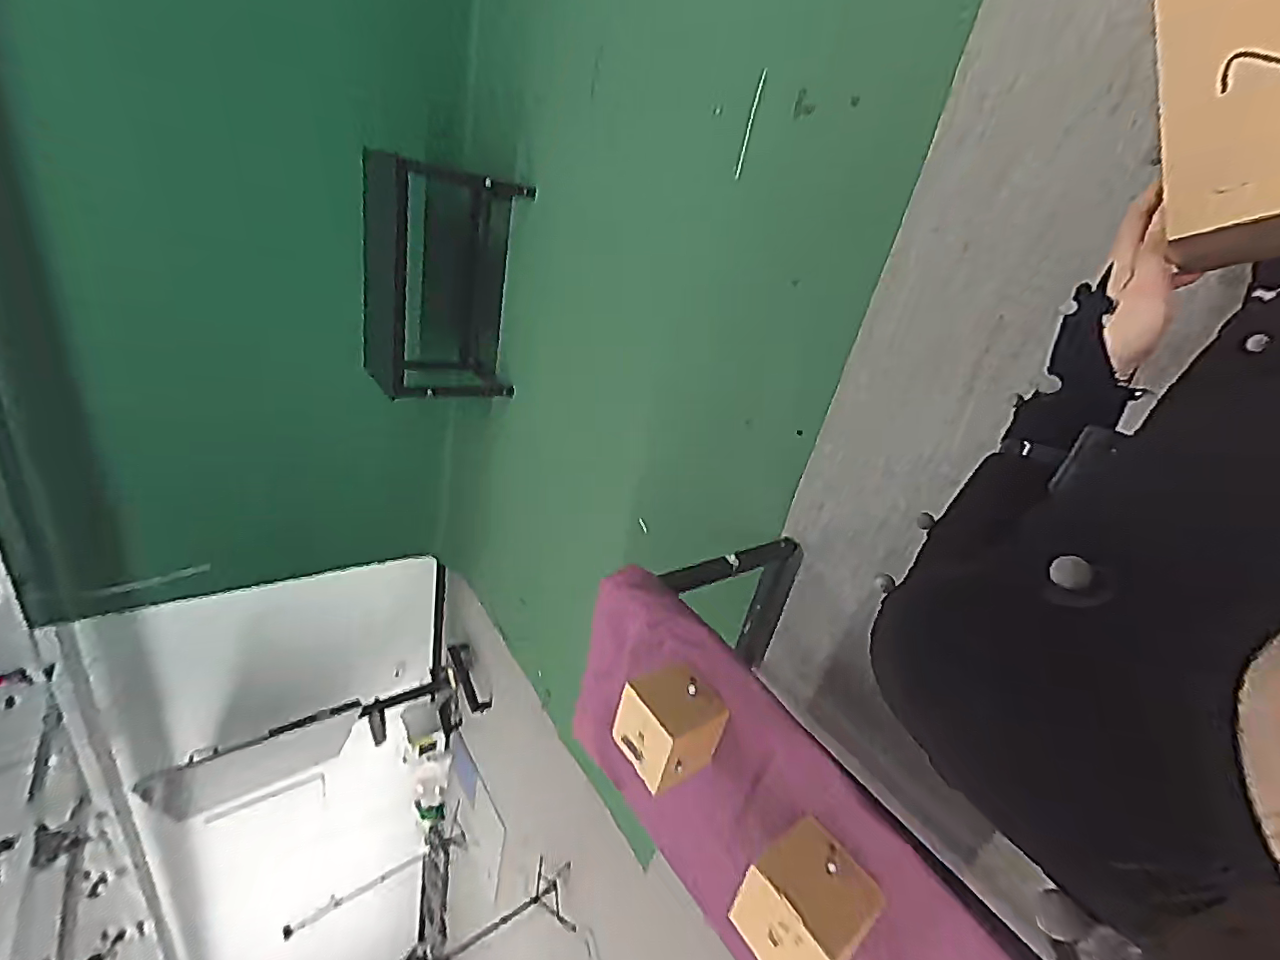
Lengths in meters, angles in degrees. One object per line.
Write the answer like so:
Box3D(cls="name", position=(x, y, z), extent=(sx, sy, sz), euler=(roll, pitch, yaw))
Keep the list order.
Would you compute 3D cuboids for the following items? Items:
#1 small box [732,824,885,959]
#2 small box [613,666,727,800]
Box3D(cls="small box", position=(0.290, 0.752, 0.934), extent=(0.168, 0.176, 0.179), euler=(36, 124, 42))
Box3D(cls="small box", position=(0.066, 0.546, 1.187), extent=(0.168, 0.176, 0.179), euler=(38, 124, 42))
